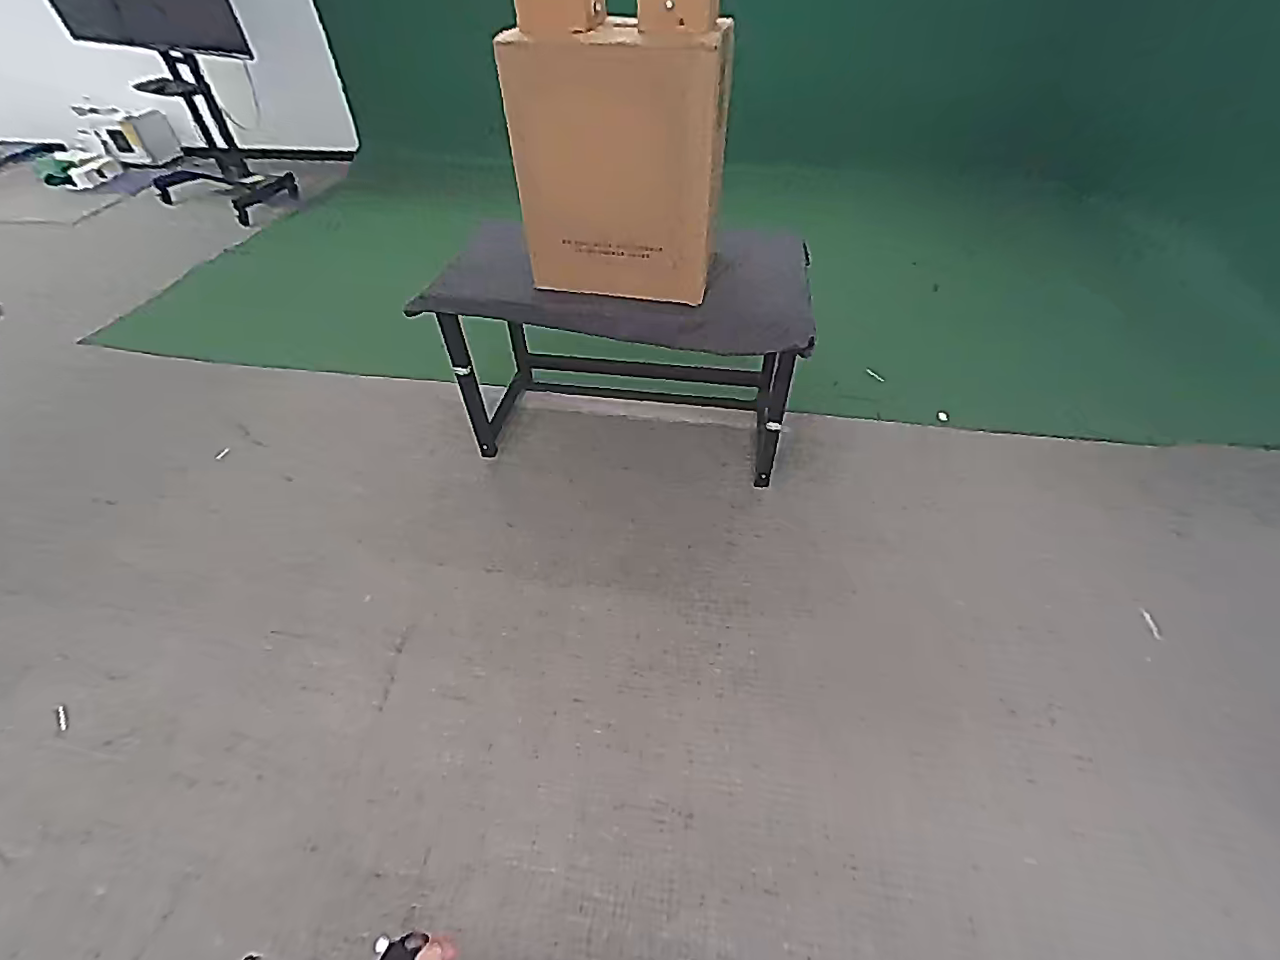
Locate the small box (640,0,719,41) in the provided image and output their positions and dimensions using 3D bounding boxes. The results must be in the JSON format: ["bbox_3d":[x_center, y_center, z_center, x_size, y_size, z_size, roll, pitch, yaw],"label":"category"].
[{"bbox_3d":[0.095,-1.138,1.242,0.168,0.176,0.179,10,50,9],"label":"small box"}]

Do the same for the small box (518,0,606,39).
[{"bbox_3d":[-0.188,-1.170,1.283,0.179,0.176,0.168,10,51,9],"label":"small box"}]
